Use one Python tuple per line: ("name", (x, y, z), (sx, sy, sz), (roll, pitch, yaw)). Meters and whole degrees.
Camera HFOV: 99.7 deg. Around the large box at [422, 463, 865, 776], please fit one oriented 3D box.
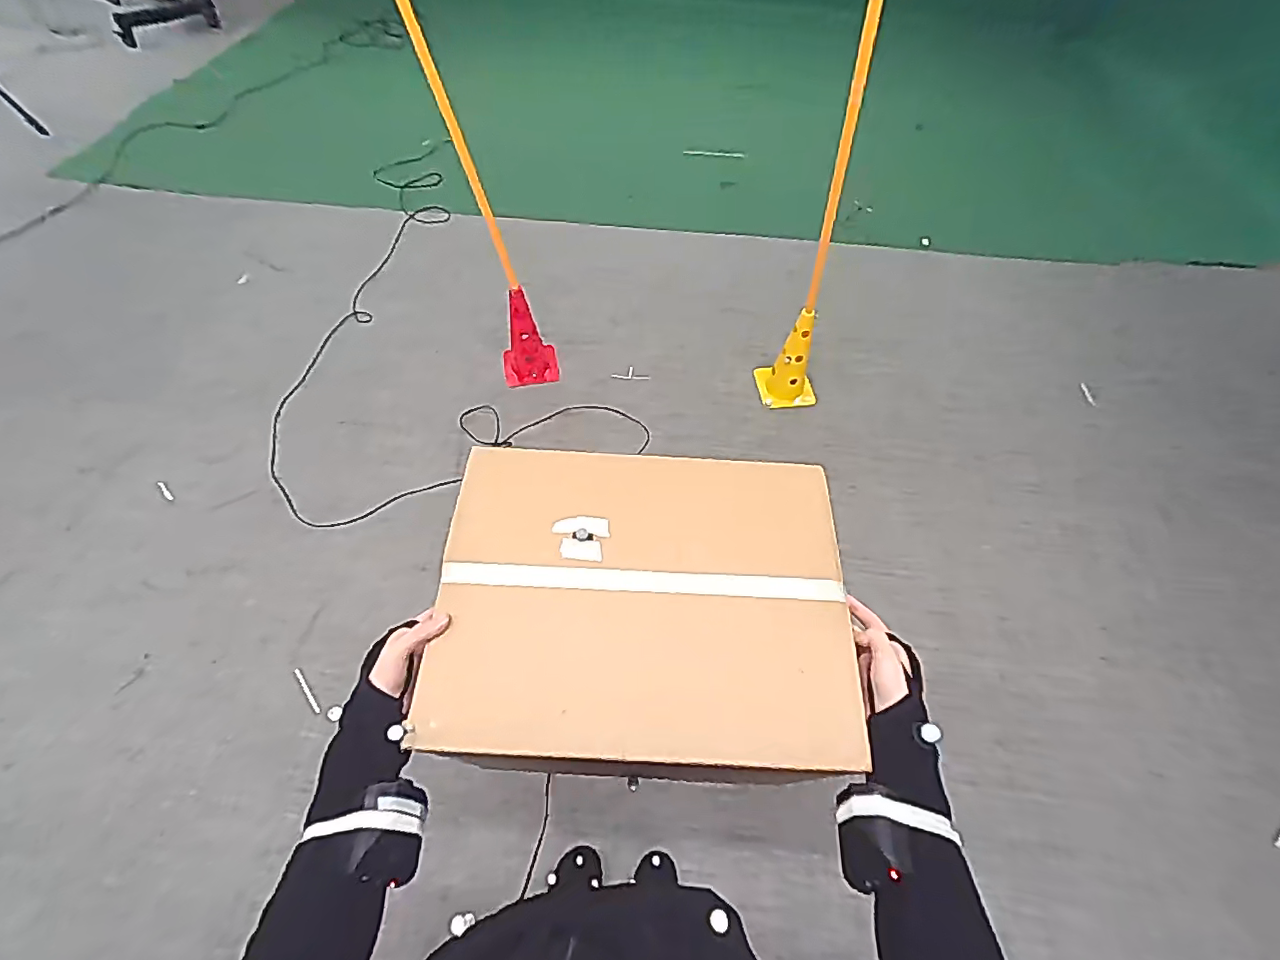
("large box", (0.007, 0.192, 0.683), (0.408, 0.320, 0.320), (2, 58, 1))
